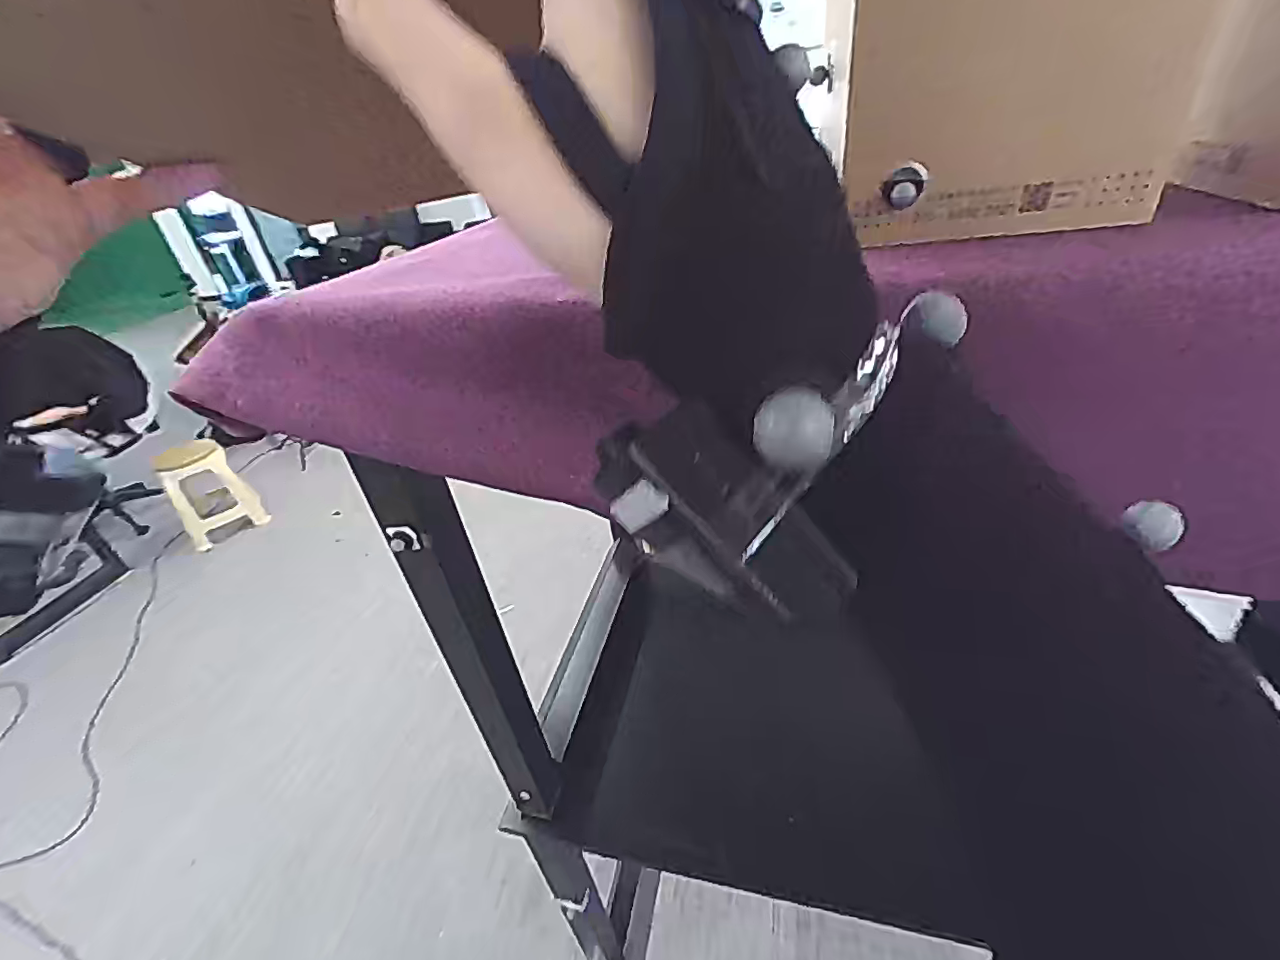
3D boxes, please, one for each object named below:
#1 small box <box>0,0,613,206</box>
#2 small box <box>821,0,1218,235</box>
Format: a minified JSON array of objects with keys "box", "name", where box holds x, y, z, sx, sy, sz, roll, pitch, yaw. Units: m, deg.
[{"box":[-0.110,-0.211,0.174,0.179,0.168,0.176,-5,9,9],"name":"small box"},{"box":[0.208,-0.257,0.336,0.168,0.176,0.179,0,32,12],"name":"small box"}]
